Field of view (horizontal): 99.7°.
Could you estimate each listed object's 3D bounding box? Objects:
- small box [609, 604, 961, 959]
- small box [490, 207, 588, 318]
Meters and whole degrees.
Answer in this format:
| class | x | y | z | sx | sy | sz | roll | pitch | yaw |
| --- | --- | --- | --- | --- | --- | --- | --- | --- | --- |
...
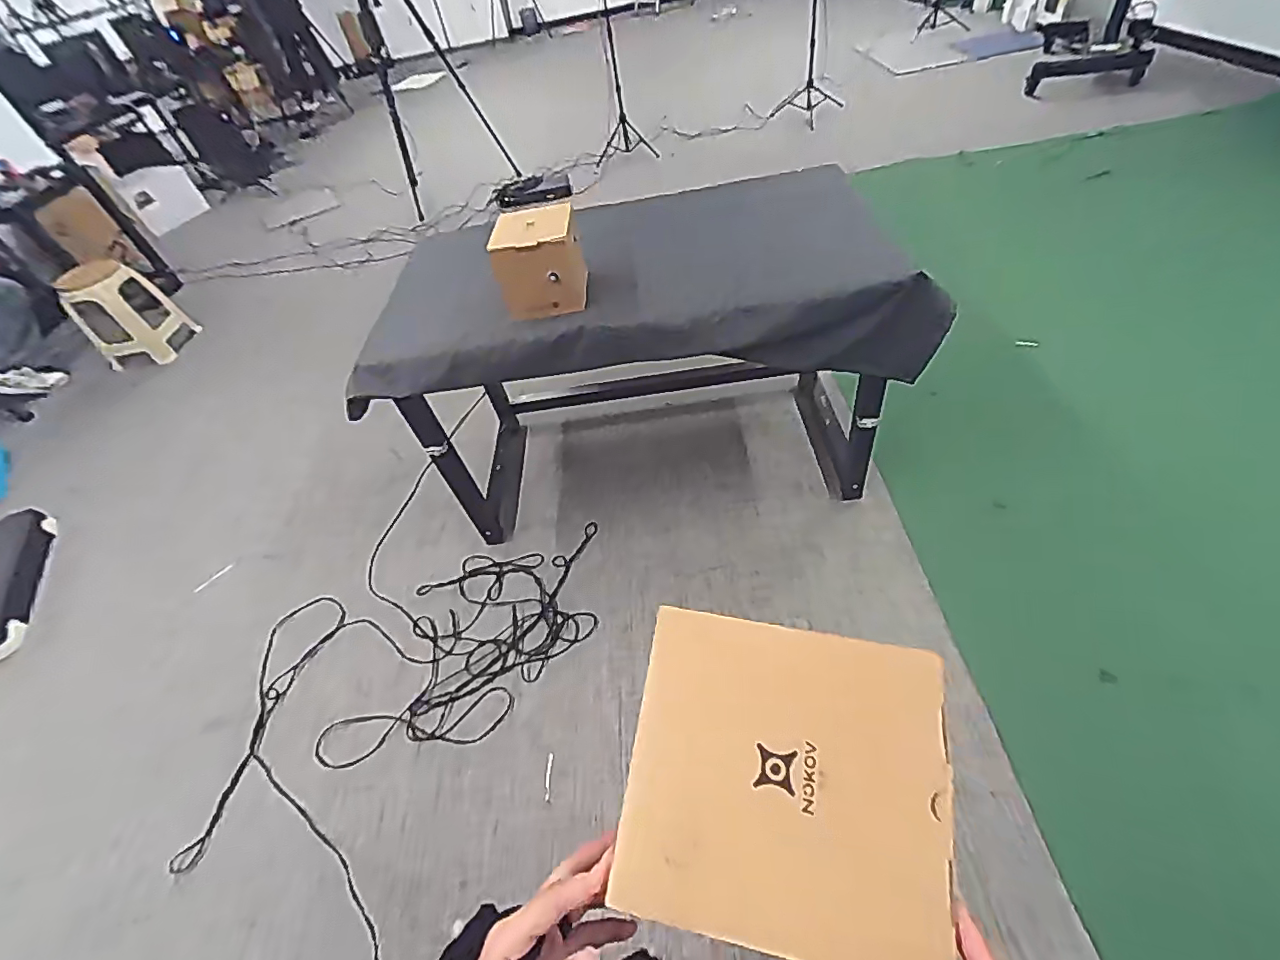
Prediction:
| class | x | y | z | sx | sy | sz | roll | pitch | yaw |
| --- | --- | --- | --- | --- | --- | --- | --- | --- | --- |
| small box | 0.093 | 0.201 | 0.375 | 0.179 | 0.176 | 0.168 | 7 | 62 | 11 |
| small box | -0.213 | -0.472 | 1.190 | 0.168 | 0.176 | 0.179 | -6 | 46 | 4 |
